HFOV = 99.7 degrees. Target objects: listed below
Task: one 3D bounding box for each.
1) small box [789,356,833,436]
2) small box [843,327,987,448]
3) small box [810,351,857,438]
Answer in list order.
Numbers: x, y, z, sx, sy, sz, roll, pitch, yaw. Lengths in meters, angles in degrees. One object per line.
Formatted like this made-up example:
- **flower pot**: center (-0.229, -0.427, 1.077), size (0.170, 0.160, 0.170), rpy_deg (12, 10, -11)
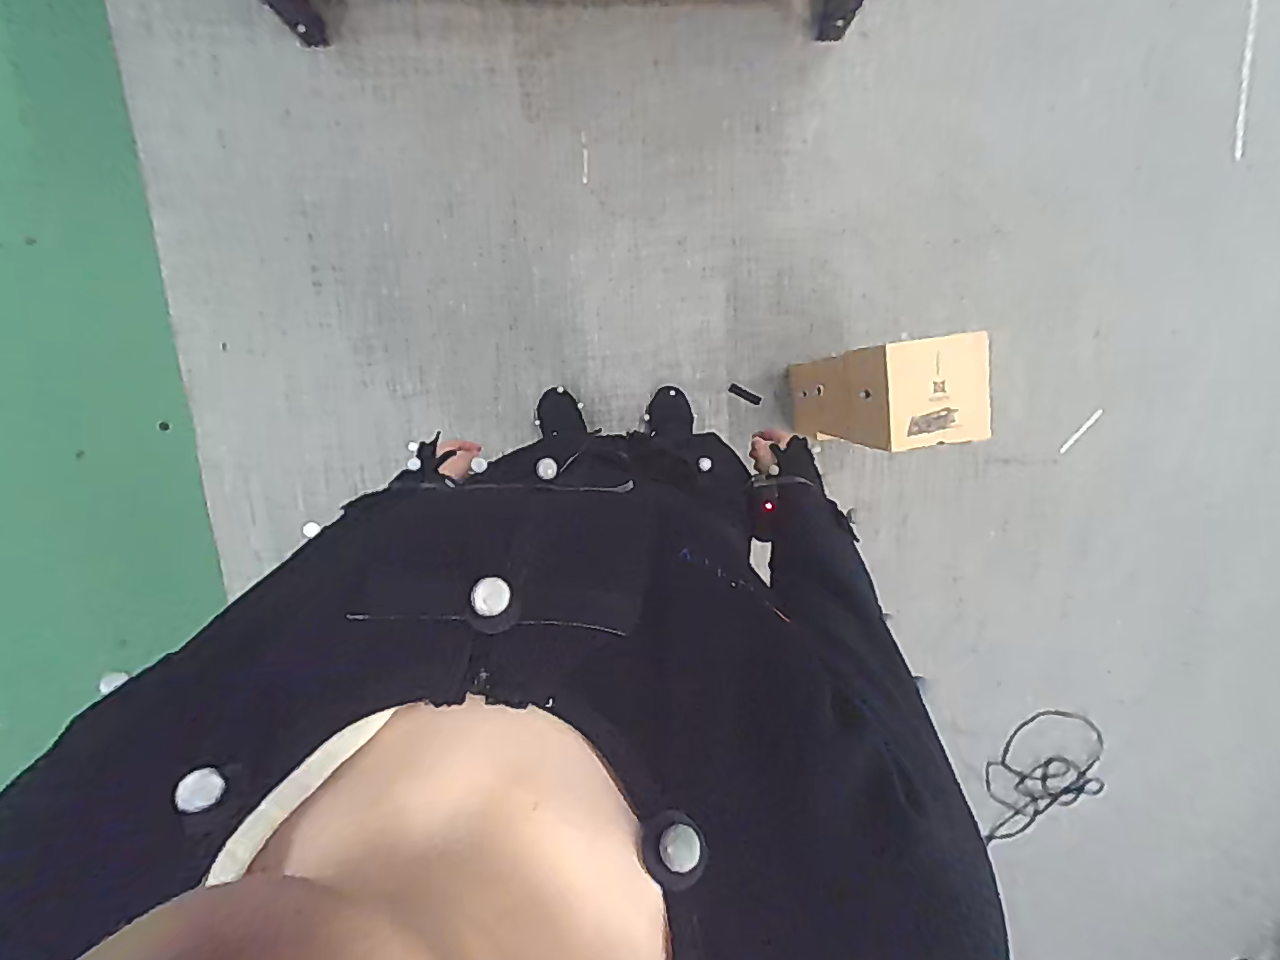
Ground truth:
- **small box**: center (0.456, -0.203, 1.264), size (0.168, 0.176, 0.179), rpy_deg (-8, 100, 0)
- **small box**: center (0.469, -0.160, 0.940), size (0.168, 0.176, 0.179), rpy_deg (-8, 99, -1)
- **small box**: center (0.466, -0.185, 1.102), size (0.179, 0.176, 0.168), rpy_deg (-9, 99, 1)
